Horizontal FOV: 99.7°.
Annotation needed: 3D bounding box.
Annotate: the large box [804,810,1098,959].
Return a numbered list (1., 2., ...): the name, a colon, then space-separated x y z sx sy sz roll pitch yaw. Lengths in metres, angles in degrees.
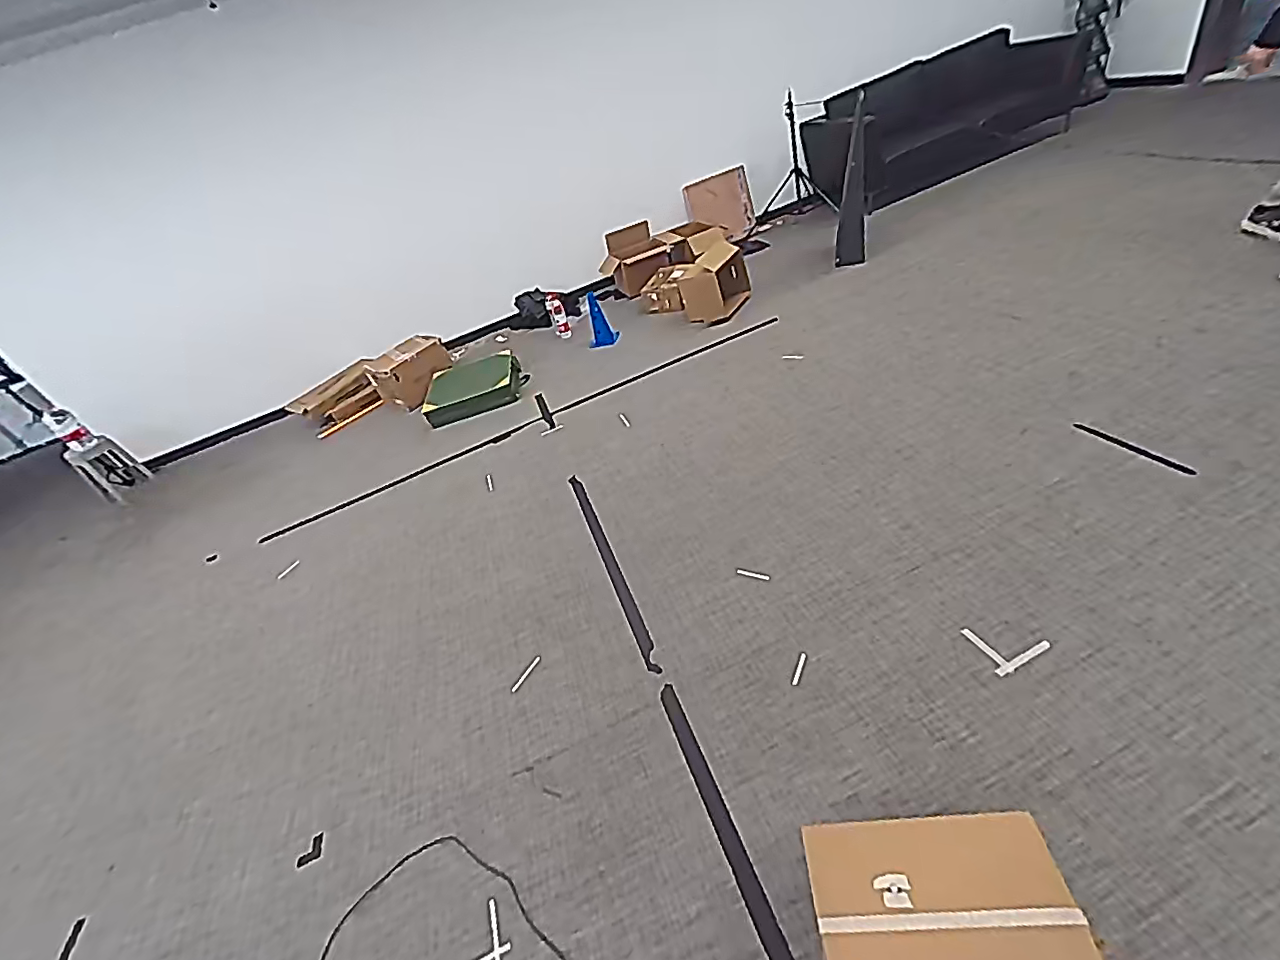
1. large box: 0.547 0.846 0.980 0.408 0.320 0.320 -13 35 11
